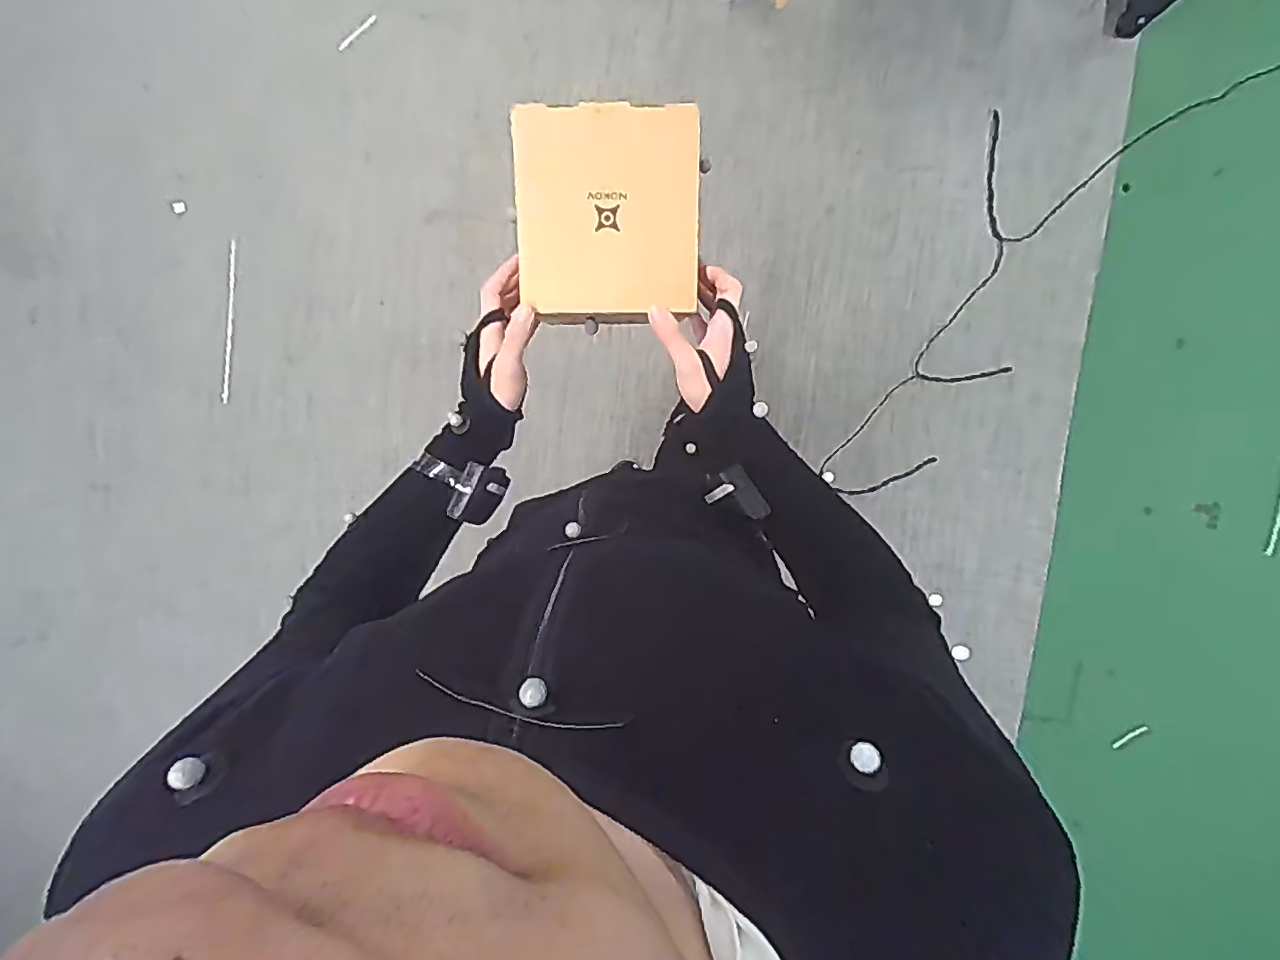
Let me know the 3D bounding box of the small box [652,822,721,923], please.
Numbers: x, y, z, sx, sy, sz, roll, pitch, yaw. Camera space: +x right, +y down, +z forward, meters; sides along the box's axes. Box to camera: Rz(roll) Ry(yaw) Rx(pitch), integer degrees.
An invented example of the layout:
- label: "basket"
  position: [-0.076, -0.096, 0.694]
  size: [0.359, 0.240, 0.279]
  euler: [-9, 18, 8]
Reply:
- label: "small box"
  position: [0.133, 1.154, 1.602]
  size: [0.179, 0.176, 0.168]
  euler: [9, 93, 1]
